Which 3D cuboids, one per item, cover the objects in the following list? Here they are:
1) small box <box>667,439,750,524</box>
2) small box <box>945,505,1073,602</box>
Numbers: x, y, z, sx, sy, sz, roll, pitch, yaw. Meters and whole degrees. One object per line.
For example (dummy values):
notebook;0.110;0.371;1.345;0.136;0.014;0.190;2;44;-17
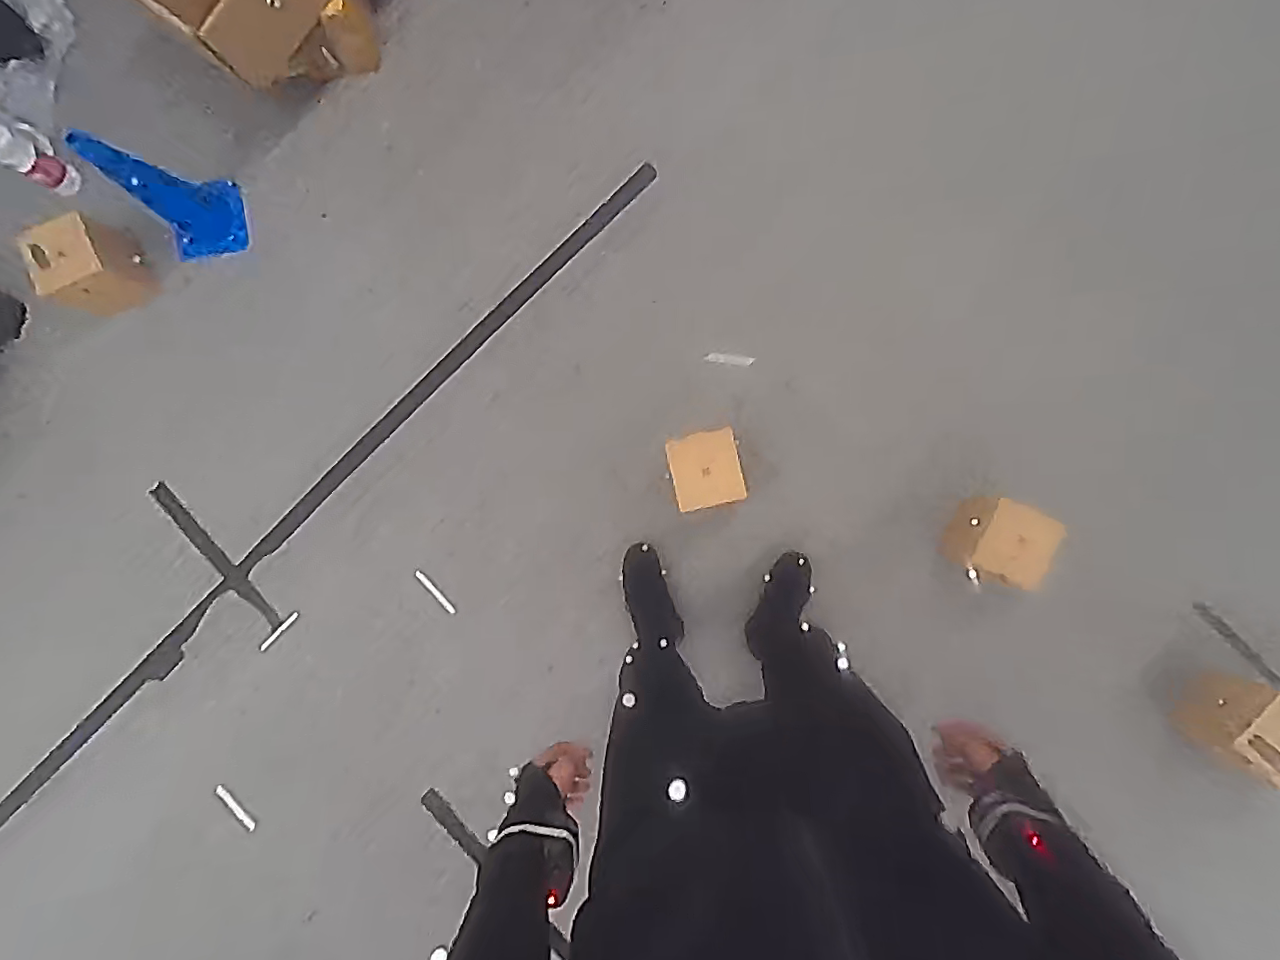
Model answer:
small box;0.169;0.004;1.363;0.168;0.176;0.179;-14;87;2
small box;0.892;0.172;1.327;0.168;0.176;0.179;27;89;4
